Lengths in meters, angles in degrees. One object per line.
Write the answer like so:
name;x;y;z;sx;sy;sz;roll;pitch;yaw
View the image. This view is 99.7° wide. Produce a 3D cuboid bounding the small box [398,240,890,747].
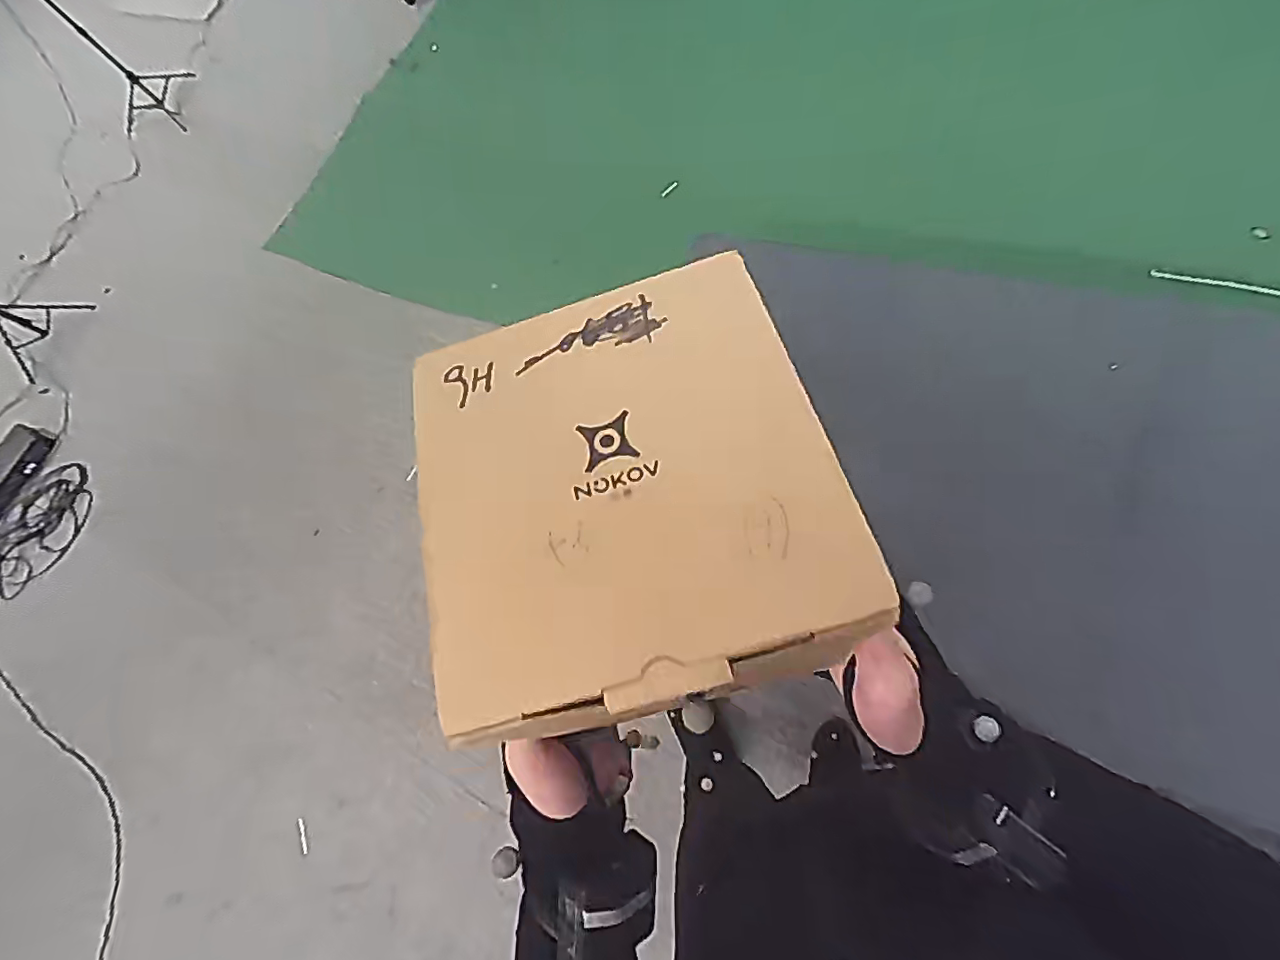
small box;-0.001;0.021;0.284;0.168;0.176;0.179;-16;67;3
